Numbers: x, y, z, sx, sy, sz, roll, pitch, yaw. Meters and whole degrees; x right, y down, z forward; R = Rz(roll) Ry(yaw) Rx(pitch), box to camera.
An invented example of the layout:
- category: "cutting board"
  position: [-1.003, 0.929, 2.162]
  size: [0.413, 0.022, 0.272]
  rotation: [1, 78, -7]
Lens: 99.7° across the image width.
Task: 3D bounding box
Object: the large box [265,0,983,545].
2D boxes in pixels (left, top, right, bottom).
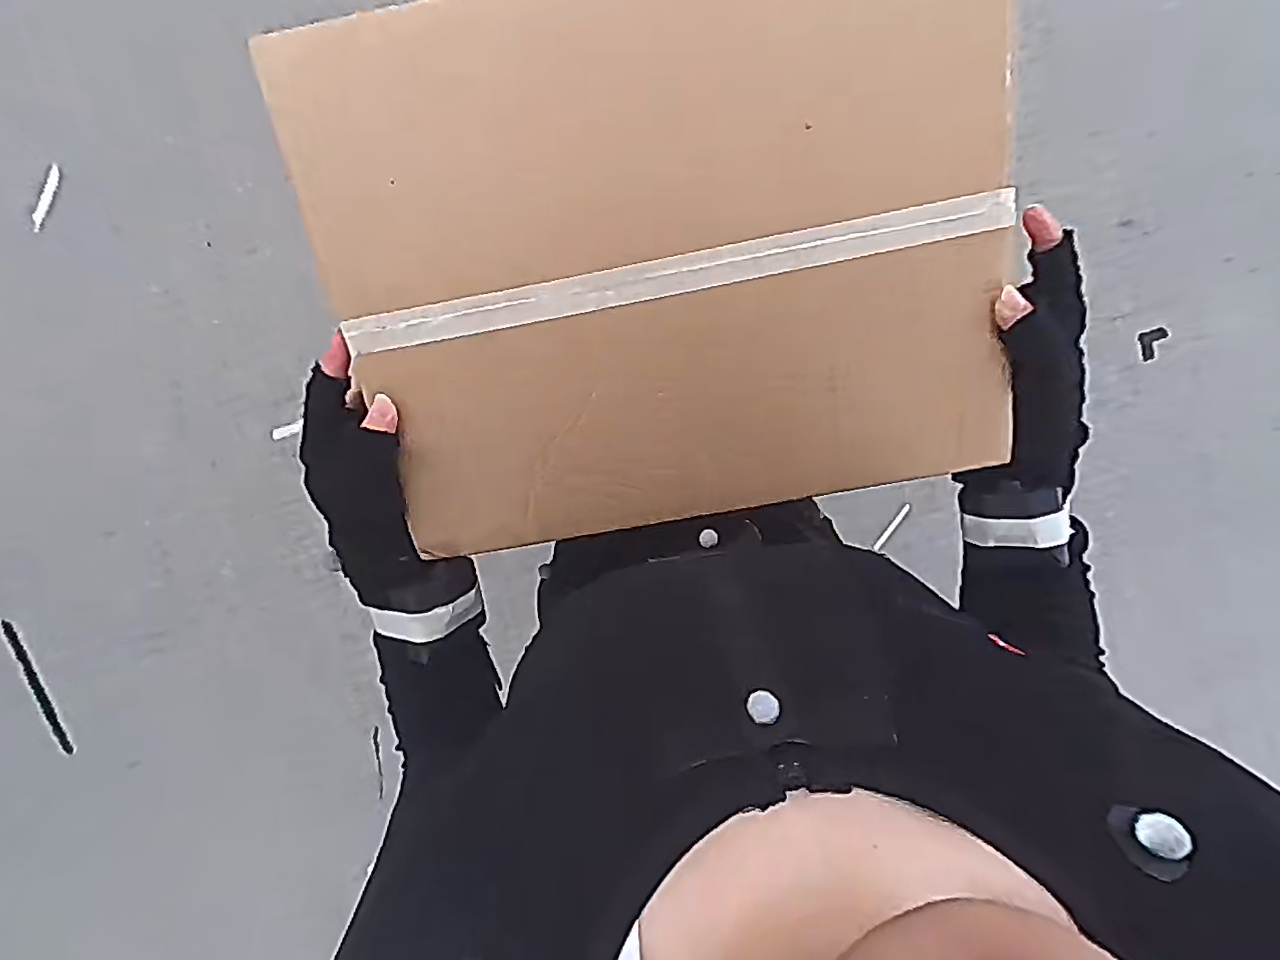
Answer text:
- category: "large box"
  position: [0.011, -0.177, 0.477]
  size: [0.408, 0.320, 0.320]
  rotation: [-10, 107, 3]
